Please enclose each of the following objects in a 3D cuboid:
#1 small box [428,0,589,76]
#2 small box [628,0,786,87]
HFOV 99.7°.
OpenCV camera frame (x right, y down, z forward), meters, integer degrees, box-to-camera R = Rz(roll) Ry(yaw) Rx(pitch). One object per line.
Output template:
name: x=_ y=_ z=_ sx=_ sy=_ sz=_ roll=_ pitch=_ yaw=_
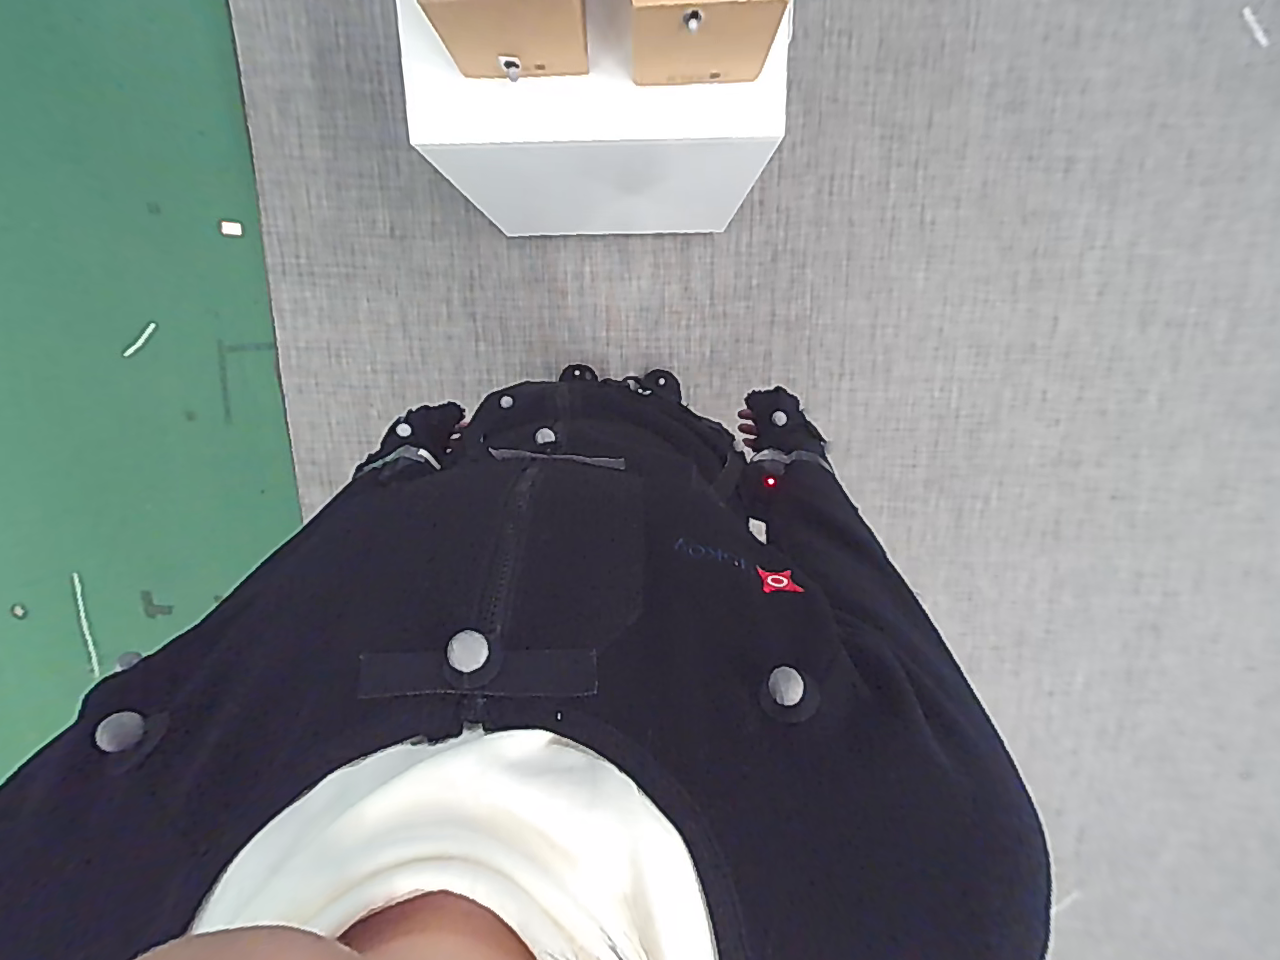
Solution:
small box: x=-0.151 y=-0.598 z=0.608 sx=0.168 sy=0.176 sz=0.179 roll=-3 pitch=103 yaw=1
small box: x=0.069 y=-0.593 z=0.621 sx=0.168 sy=0.176 sz=0.179 roll=-1 pitch=101 yaw=0
